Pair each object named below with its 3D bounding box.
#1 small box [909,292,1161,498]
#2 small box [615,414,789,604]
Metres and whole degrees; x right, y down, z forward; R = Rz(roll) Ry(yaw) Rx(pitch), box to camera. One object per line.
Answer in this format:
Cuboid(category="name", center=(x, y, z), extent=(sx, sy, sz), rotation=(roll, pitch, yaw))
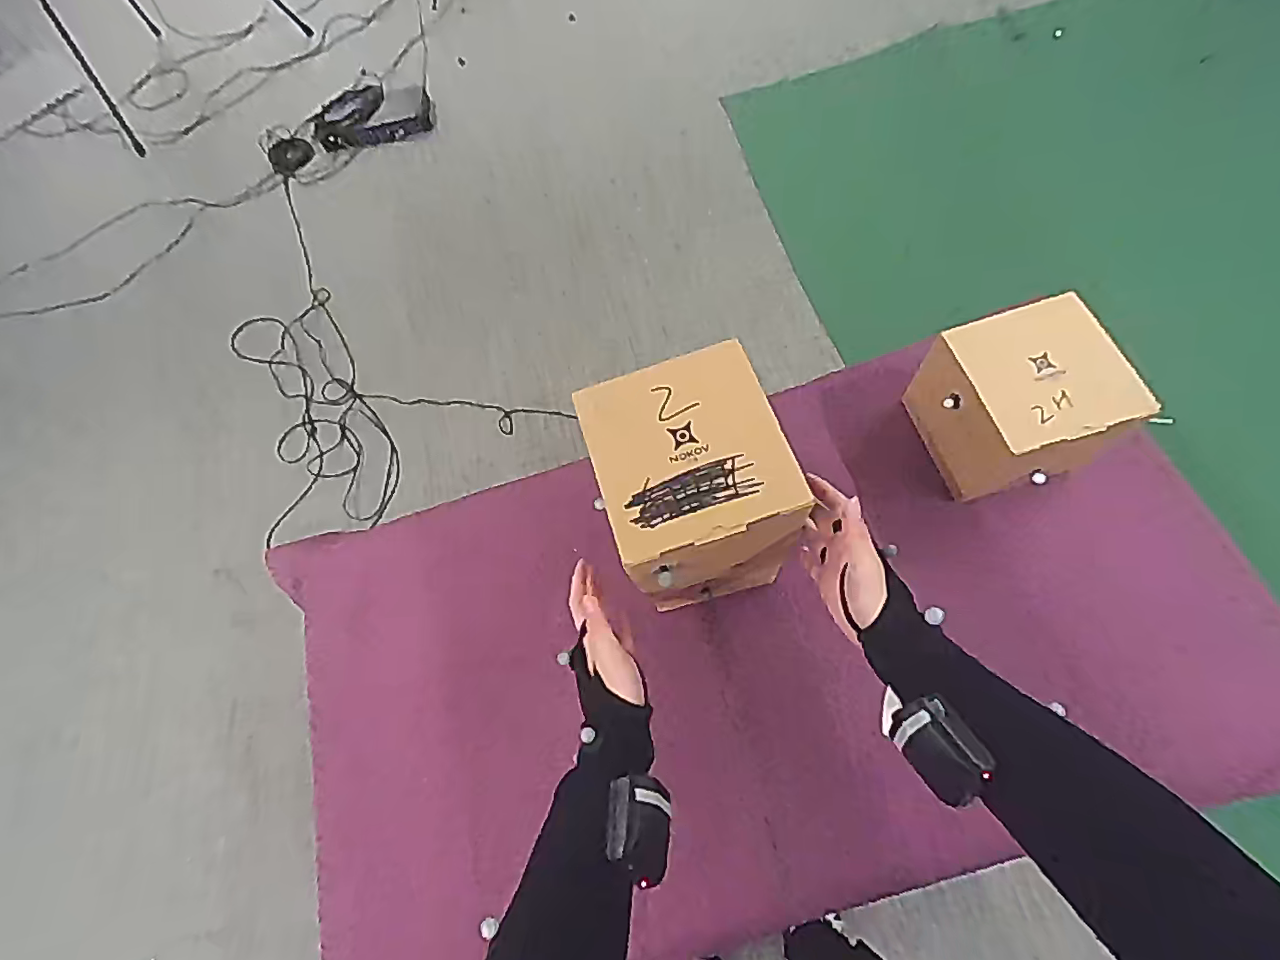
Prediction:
Cuboid(category="small box", center=(0.476, -0.099, 0.691), extent=(0.168, 0.176, 0.179), rotation=(-16, 68, 3))
Cuboid(category="small box", center=(0.073, 0.046, 0.692), extent=(0.168, 0.176, 0.179), rotation=(-15, 69, 1))
